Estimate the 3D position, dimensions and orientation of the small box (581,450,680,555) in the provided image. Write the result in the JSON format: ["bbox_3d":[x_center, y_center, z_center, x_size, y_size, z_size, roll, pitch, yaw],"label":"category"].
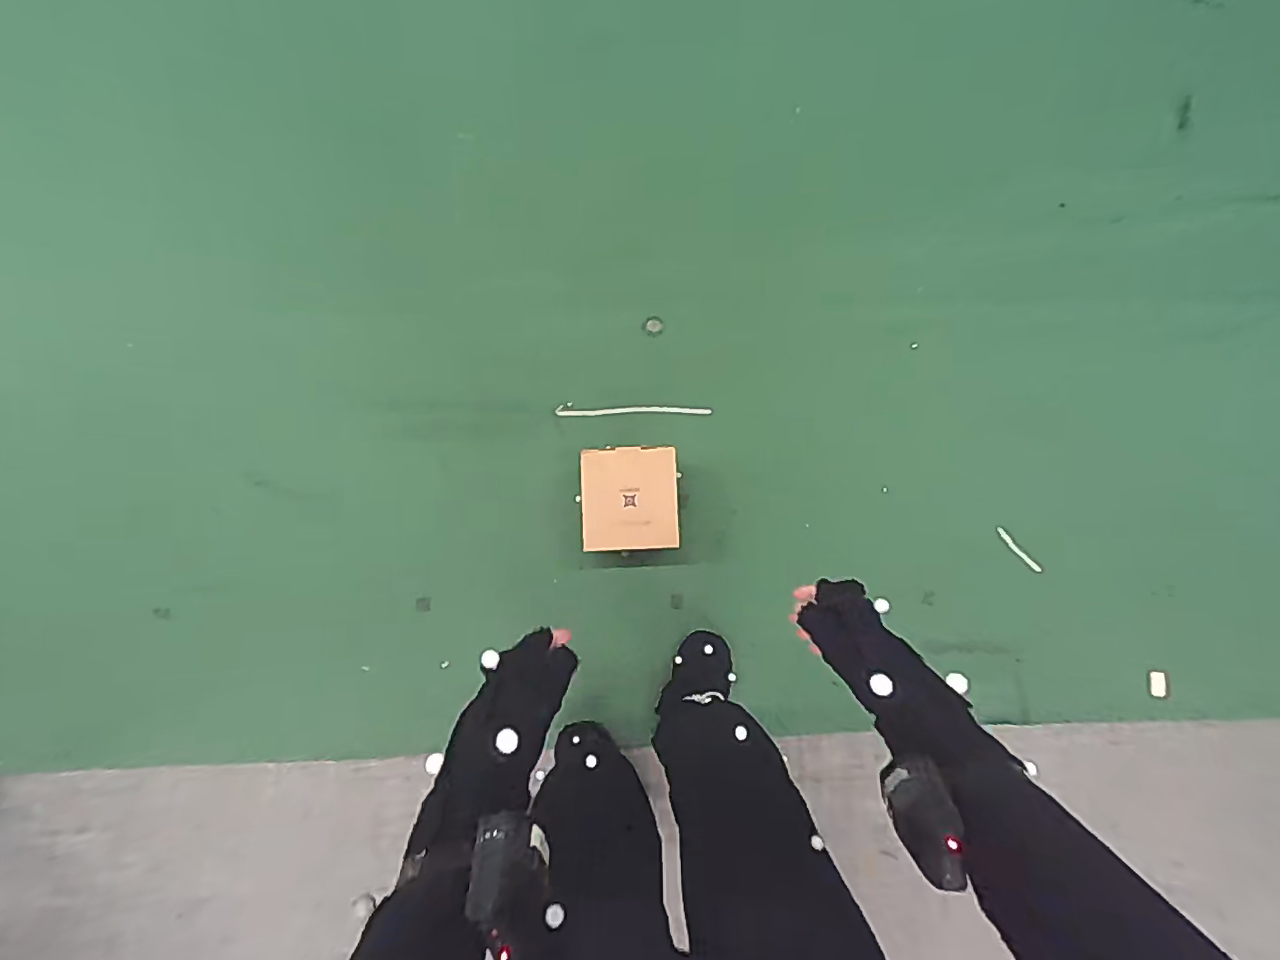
[{"bbox_3d":[-0.016,0.046,0.980,0.168,0.176,0.179,0,85,1],"label":"small box"}]
